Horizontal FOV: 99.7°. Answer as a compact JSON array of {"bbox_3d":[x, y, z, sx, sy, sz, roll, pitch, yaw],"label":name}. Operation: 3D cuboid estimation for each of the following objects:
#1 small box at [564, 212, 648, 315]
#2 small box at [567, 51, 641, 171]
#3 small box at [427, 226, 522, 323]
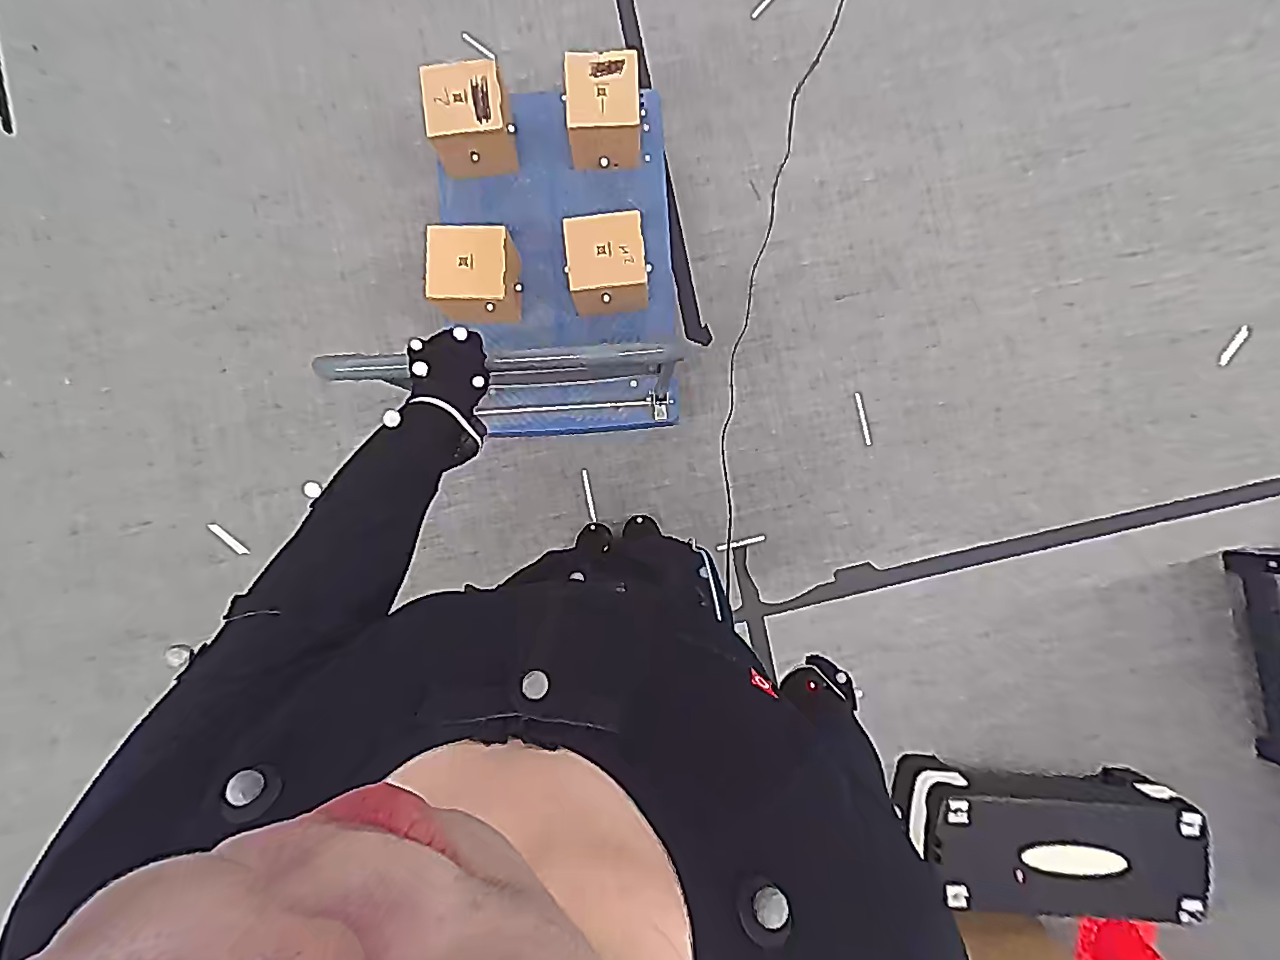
[{"bbox_3d":[-0.074,-0.501,1.274,0.179,0.176,0.168,-6,88,0],"label":"small box"},{"bbox_3d":[-0.083,-0.872,1.290,0.168,0.176,0.179,-2,89,0],"label":"small box"},{"bbox_3d":[-0.383,-0.476,1.275,0.179,0.176,0.168,0,87,-2],"label":"small box"}]
